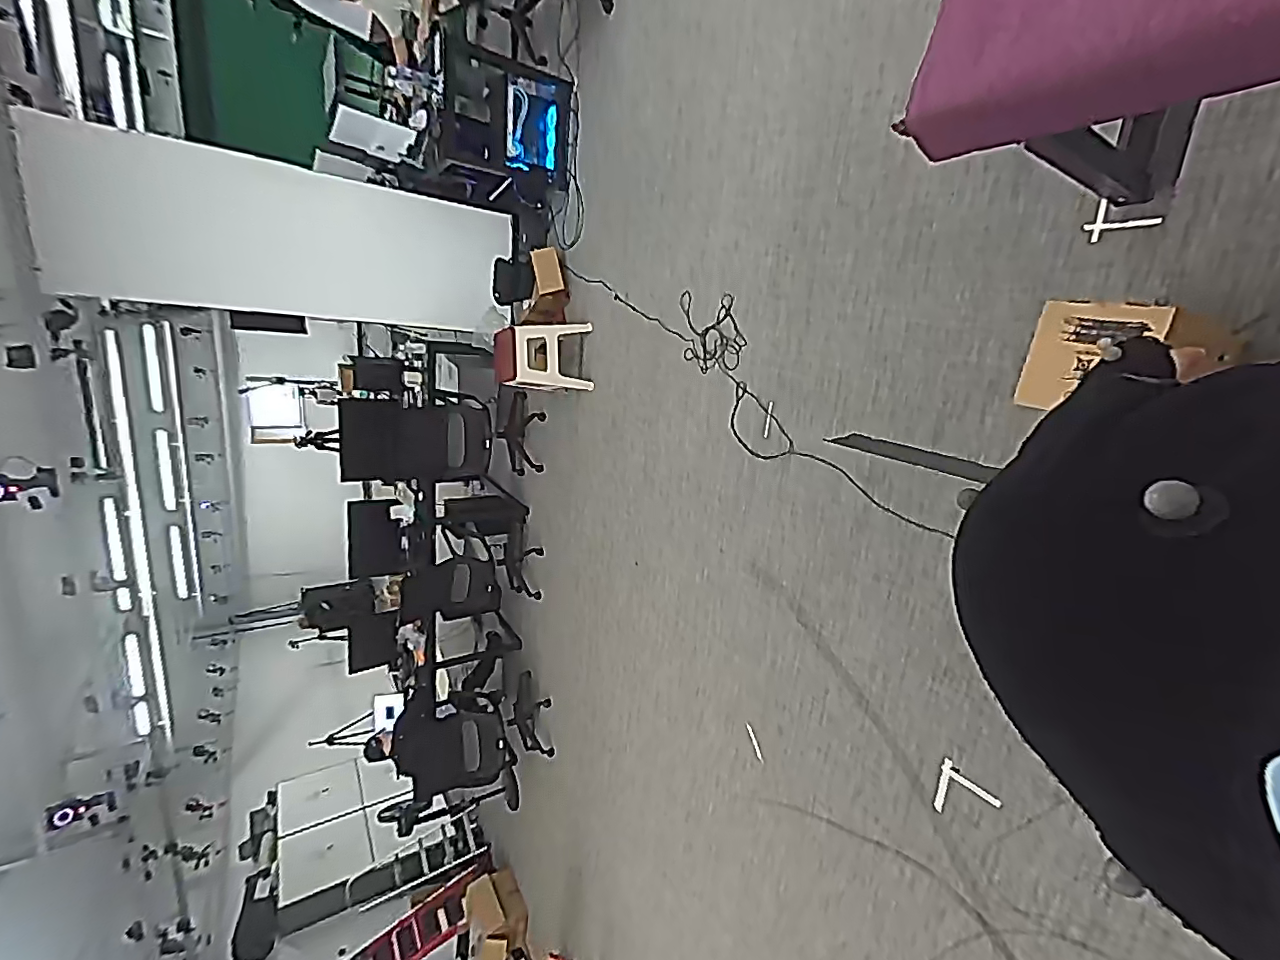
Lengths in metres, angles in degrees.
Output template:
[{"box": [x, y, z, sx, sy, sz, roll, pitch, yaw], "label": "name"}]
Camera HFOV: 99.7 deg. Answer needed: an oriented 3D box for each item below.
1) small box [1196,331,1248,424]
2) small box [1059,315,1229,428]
[{"box": [1.039, -0.212, 1.068, 0.168, 0.176, 0.179, 34, 122, 50], "label": "small box"}, {"box": [0.905, -0.195, 0.972, 0.168, 0.176, 0.179, 27, 116, 53], "label": "small box"}]
